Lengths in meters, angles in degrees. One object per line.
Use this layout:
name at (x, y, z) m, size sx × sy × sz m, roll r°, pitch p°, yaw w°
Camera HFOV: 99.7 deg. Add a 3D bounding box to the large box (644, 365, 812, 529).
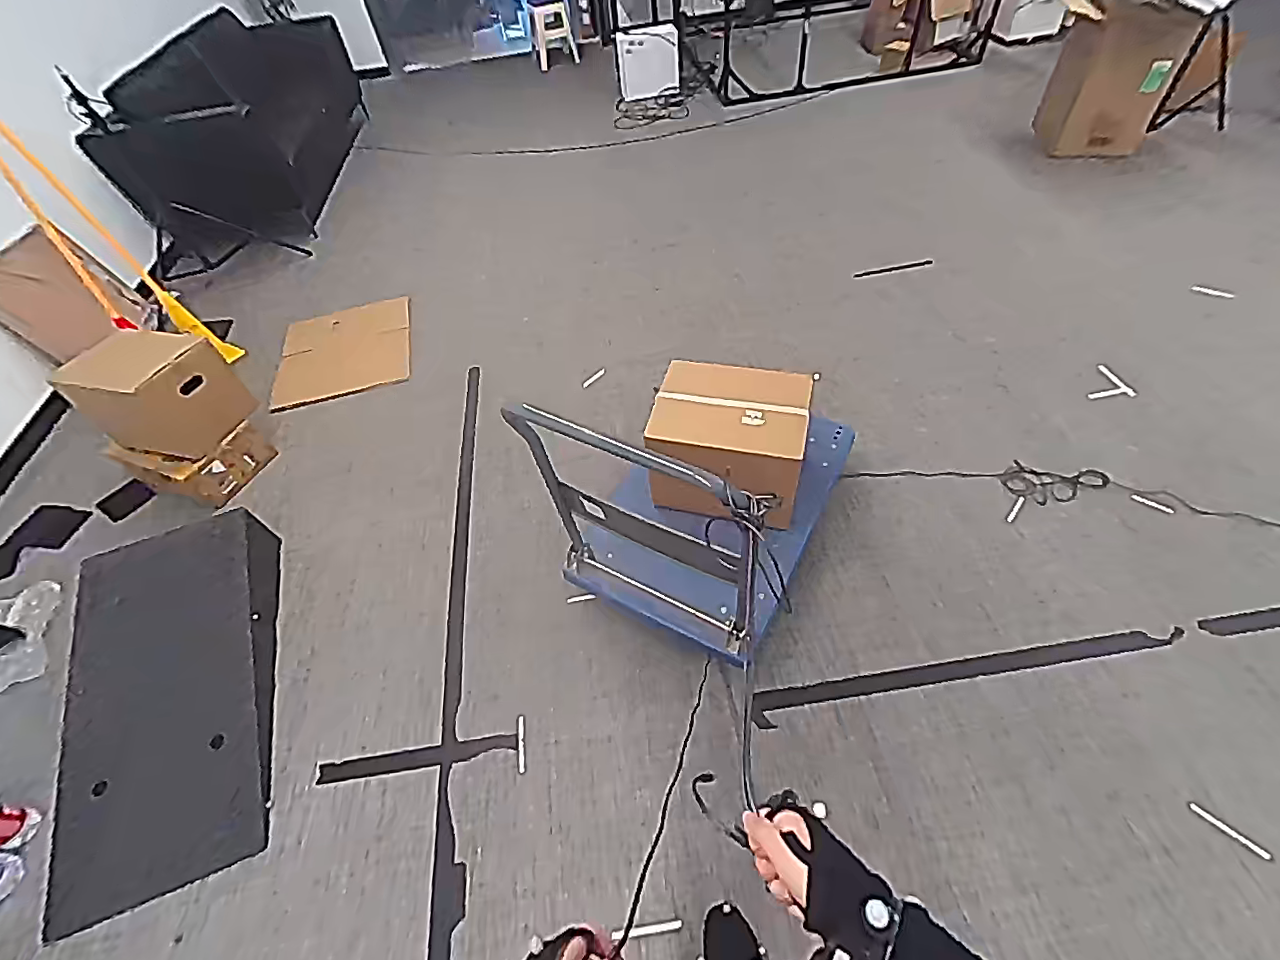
large box at (0.249, -0.095, 1.544) m, size 0.408 × 0.320 × 0.320 m, roll 10°, pitch 54°, yaw 14°
